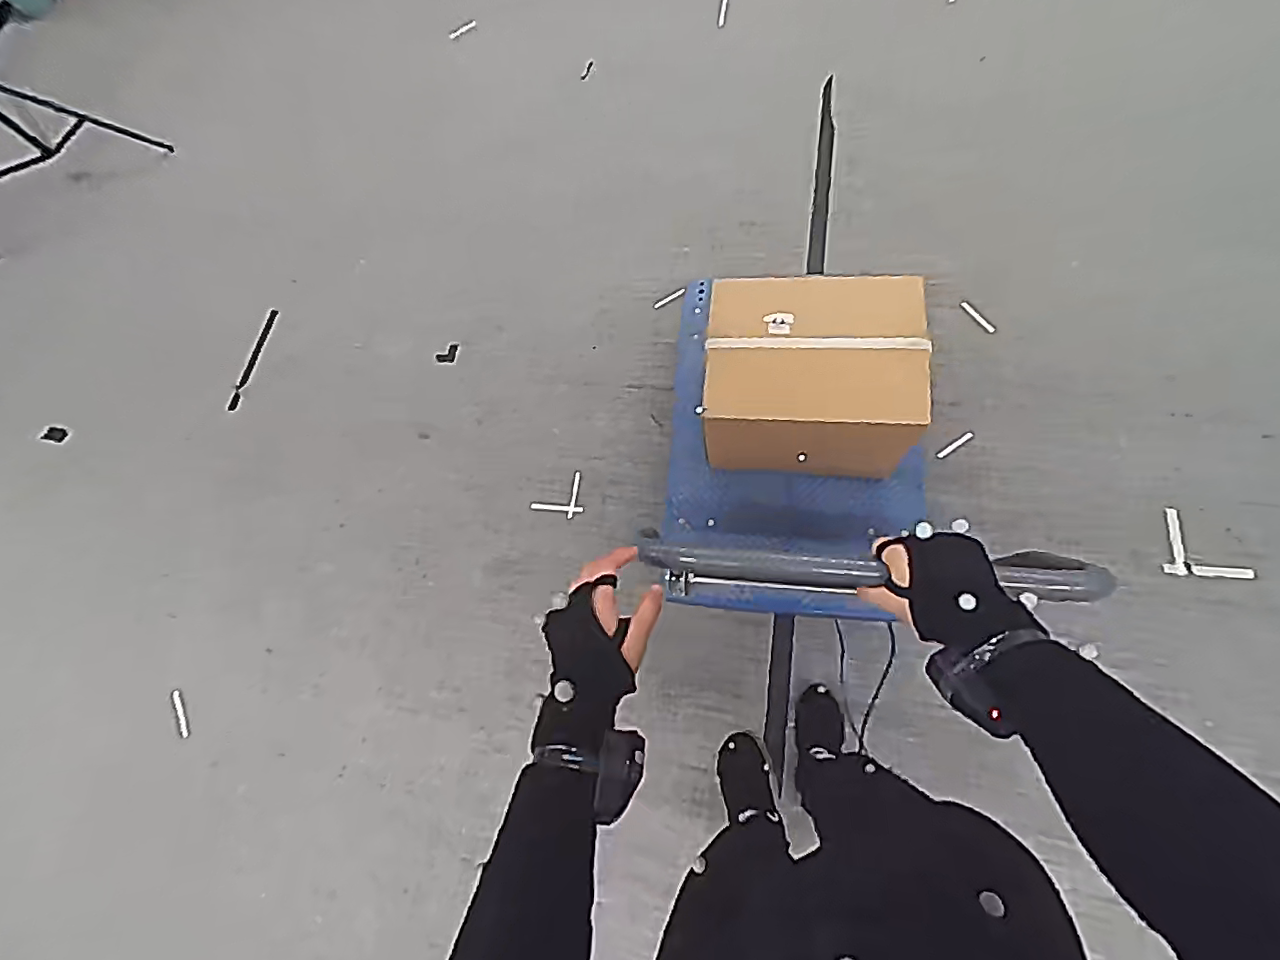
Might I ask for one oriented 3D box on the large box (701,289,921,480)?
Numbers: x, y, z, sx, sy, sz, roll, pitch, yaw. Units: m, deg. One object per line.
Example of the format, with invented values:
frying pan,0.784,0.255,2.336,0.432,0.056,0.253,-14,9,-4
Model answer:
large box,0.354,-0.191,1.196,0.408,0.320,0.320,2,72,12
